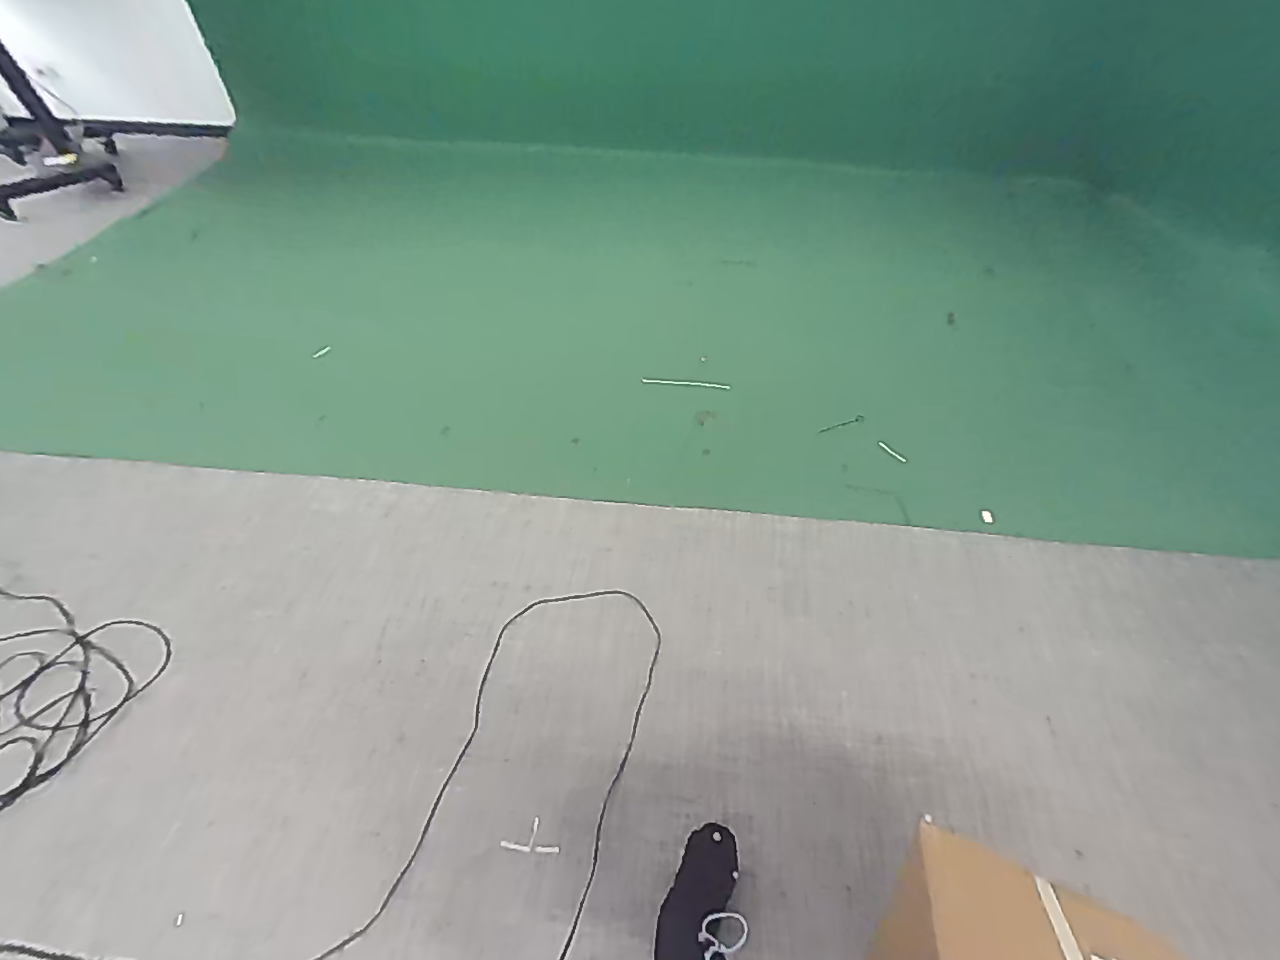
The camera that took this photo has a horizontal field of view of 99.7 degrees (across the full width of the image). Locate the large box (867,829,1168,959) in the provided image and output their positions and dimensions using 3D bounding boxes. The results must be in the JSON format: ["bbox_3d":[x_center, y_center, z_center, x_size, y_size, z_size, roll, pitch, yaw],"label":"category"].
[{"bbox_3d":[0.438,0.718,0.599,0.320,0.320,0.408,20,9,20],"label":"large box"}]
